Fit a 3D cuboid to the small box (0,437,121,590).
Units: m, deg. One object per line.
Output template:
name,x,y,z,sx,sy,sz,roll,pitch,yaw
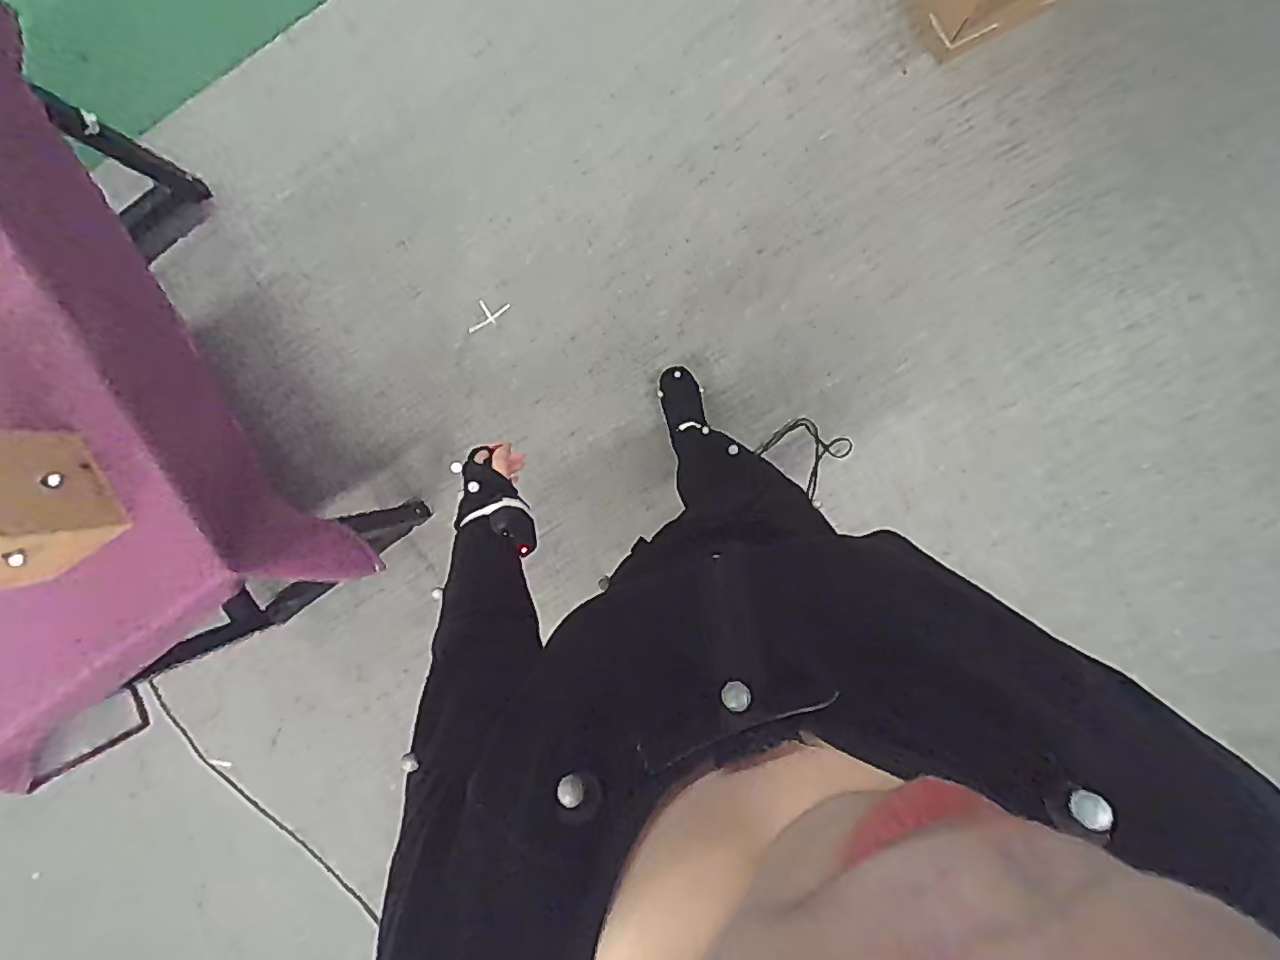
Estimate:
small box,-0.889,0.047,0.752,0.179,0.176,0.168,-32,89,6
